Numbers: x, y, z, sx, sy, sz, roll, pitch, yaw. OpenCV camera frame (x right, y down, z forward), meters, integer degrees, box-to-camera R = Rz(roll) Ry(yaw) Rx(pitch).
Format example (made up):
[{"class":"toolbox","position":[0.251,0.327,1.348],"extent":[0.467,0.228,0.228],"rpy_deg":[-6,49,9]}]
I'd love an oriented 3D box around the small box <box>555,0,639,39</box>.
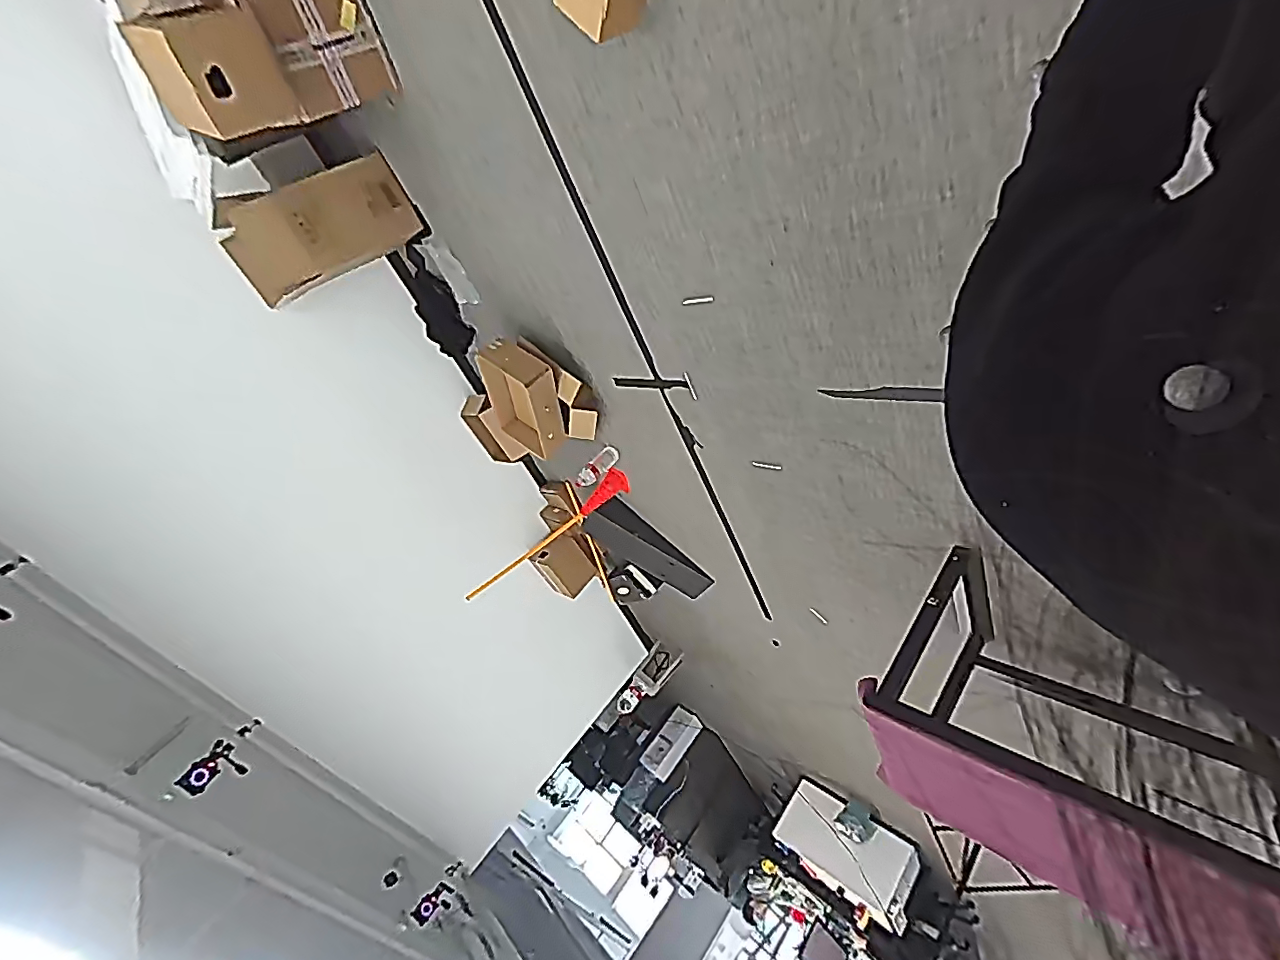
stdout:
[{"class":"small box","position":[-0.101,-1.313,1.408],"extent":[0.179,0.176,0.168],"rpy_deg":[45,153,3]}]
